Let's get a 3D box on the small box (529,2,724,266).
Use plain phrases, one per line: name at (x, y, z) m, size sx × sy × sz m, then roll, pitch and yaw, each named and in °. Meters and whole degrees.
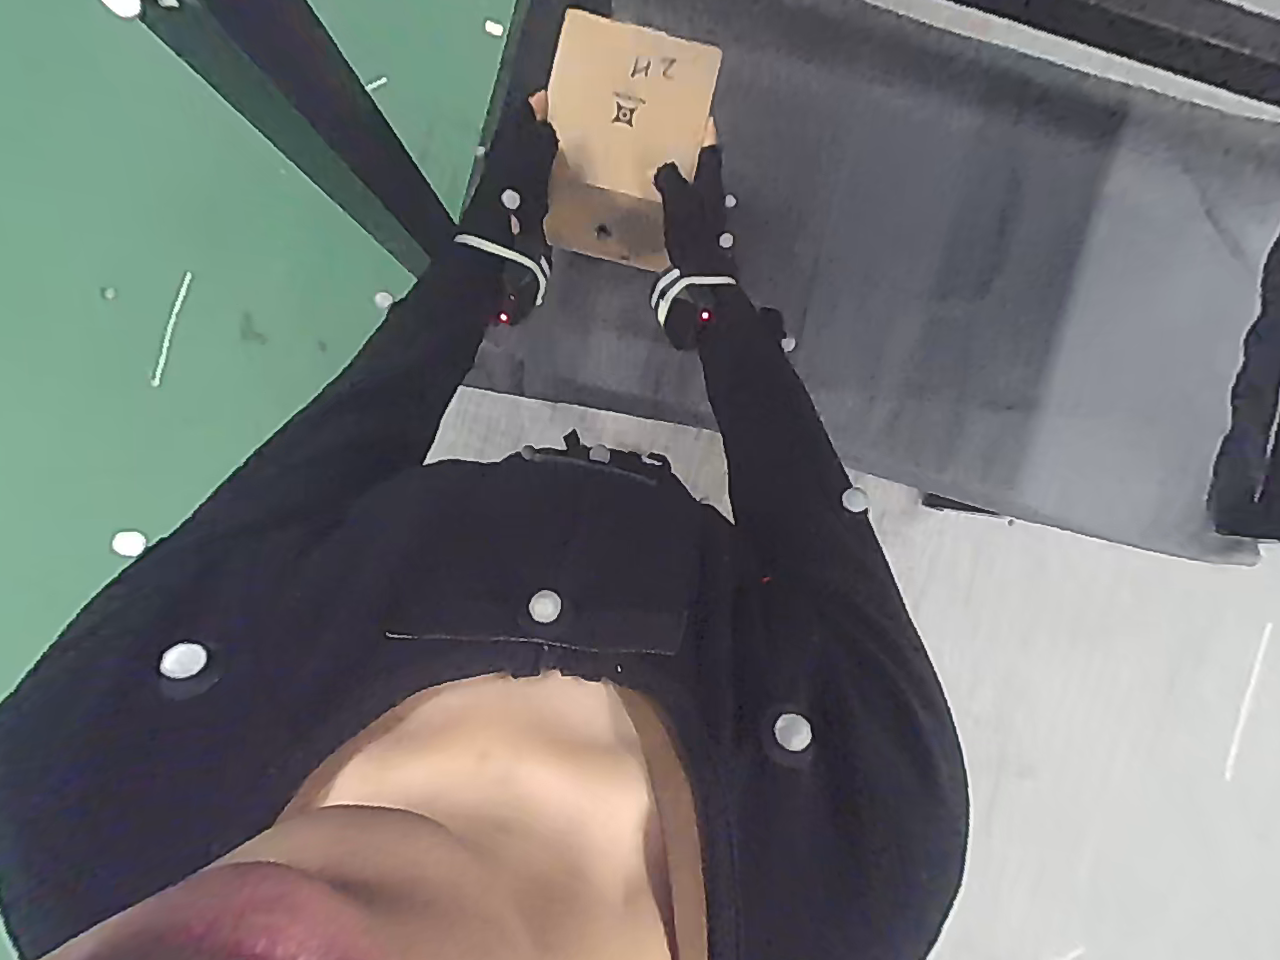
small box at (-0.017, -0.372, 0.619) m, size 0.168 × 0.176 × 0.179 m, roll 13°, pitch 88°, yaw -4°
